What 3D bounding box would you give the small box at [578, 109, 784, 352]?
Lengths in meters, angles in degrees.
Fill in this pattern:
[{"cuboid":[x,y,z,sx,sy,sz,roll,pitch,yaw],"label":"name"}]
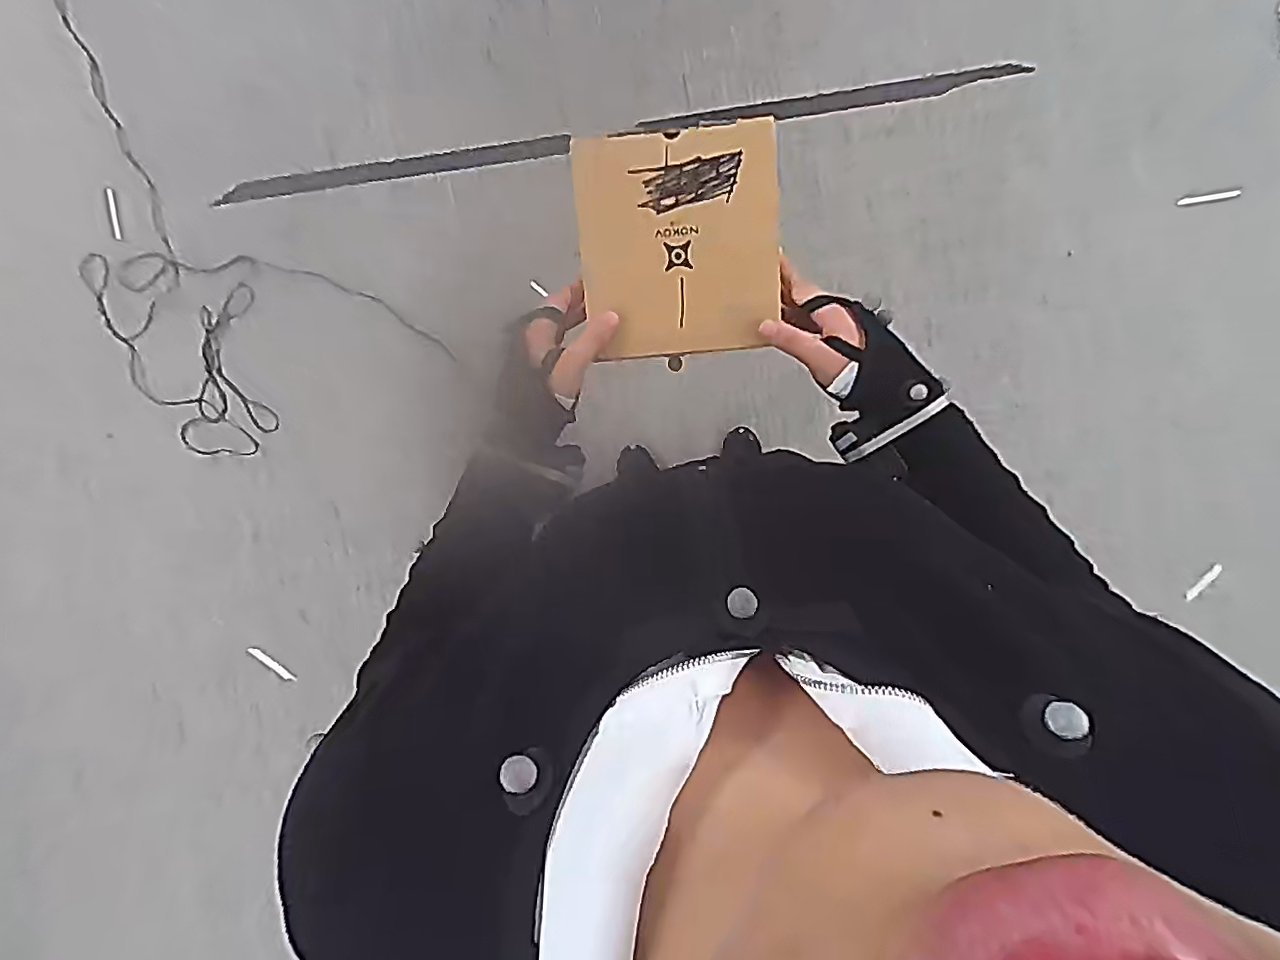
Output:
[{"cuboid":[0.037,-0.220,0.524,0.168,0.176,0.179,-4,103,3],"label":"small box"}]
